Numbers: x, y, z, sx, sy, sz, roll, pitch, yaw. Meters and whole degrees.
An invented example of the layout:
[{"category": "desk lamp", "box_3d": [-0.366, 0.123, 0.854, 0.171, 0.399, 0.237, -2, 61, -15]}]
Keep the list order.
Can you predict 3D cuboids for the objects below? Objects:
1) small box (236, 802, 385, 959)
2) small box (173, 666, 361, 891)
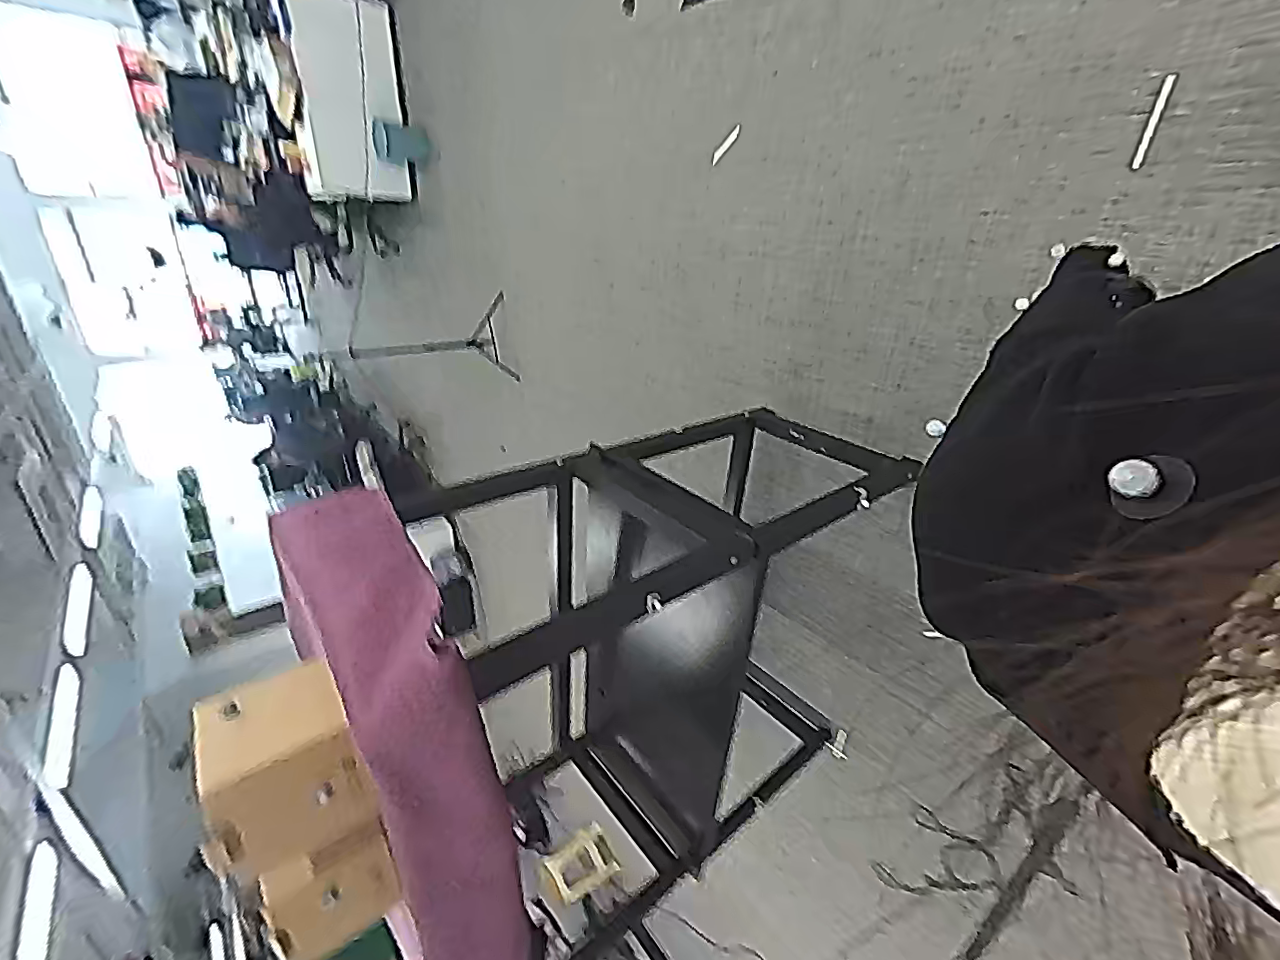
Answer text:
[{"category": "small box", "box_3d": [-0.519, 0.609, 0.857, 0.179, 0.176, 0.168, 27, 123, 45]}, {"category": "small box", "box_3d": [-0.495, 0.379, 0.728, 0.179, 0.176, 0.168, 23, 123, 46]}]
